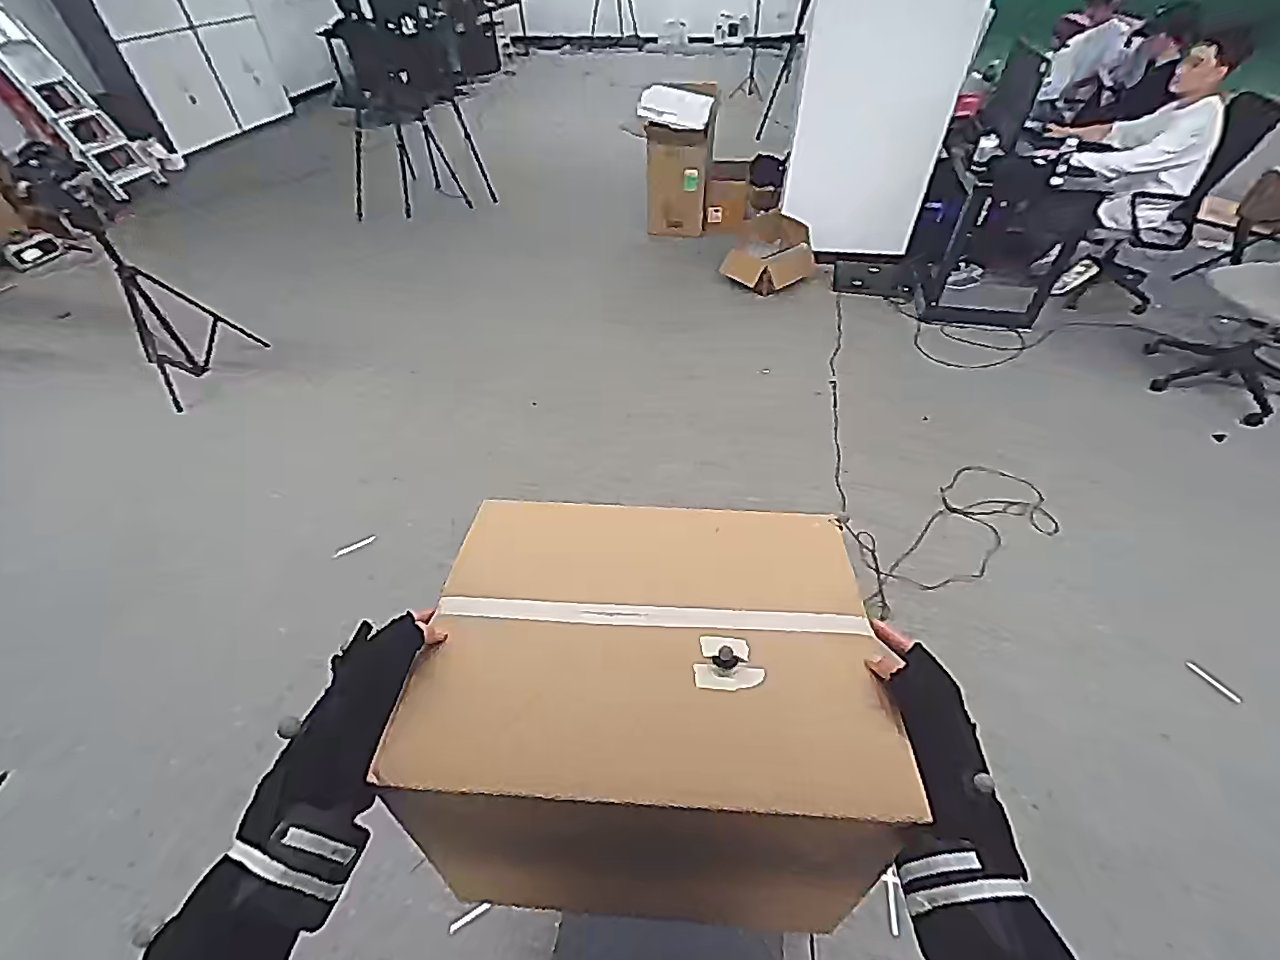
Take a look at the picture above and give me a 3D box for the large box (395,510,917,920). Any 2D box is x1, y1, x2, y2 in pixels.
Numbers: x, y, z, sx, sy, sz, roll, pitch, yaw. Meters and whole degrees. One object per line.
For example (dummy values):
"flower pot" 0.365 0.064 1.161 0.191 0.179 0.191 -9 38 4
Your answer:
"large box" 0.014 0.254 0.611 0.408 0.320 0.320 3 39 3
